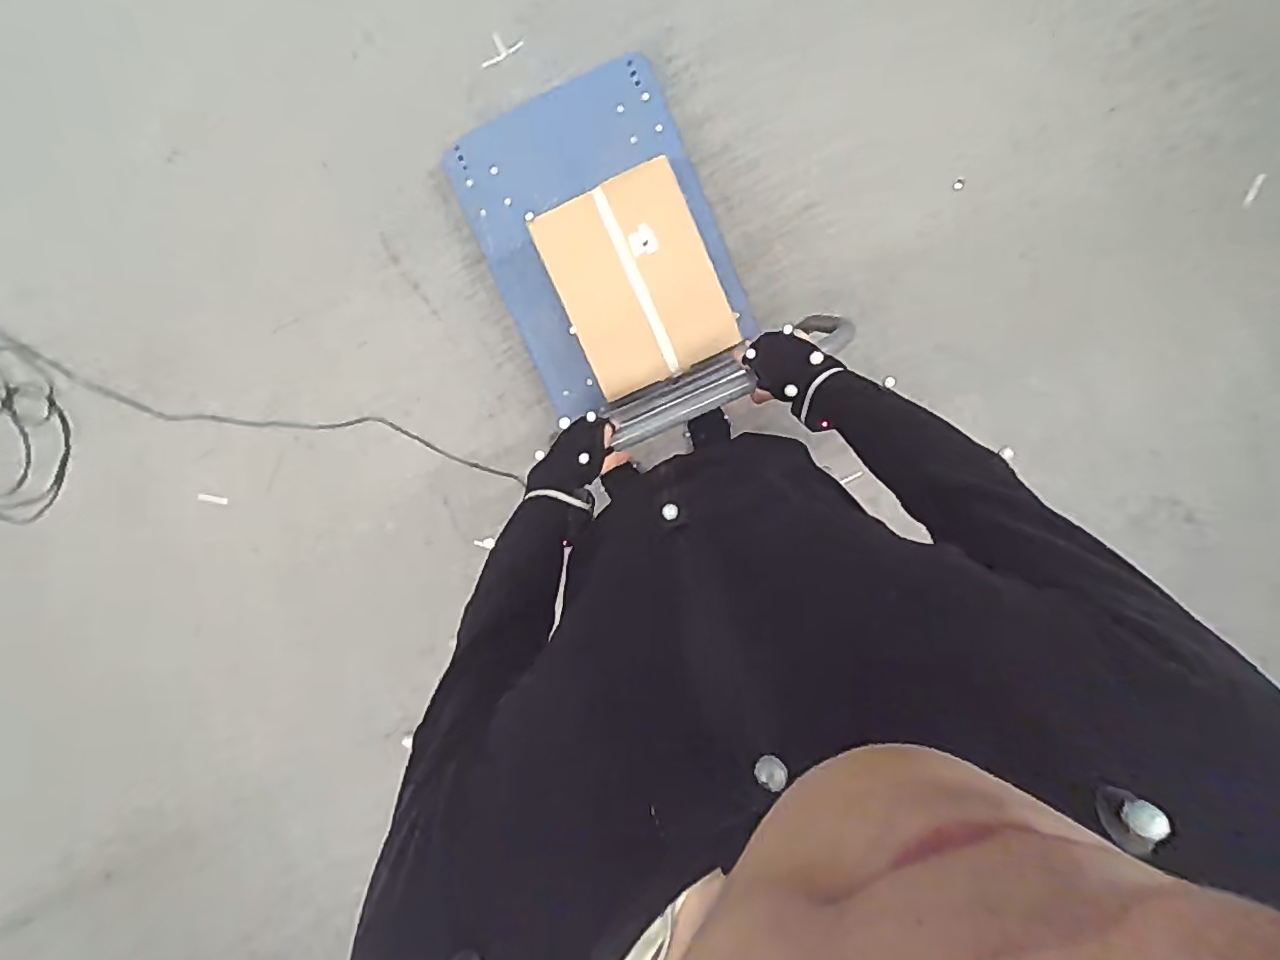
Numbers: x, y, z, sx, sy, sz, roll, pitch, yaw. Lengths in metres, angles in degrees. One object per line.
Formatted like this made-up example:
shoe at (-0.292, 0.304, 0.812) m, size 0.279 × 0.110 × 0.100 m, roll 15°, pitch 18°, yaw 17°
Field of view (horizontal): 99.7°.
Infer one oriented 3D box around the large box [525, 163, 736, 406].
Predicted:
large box at (-0.012, -0.421, 1.272) m, size 0.320 × 0.320 × 0.408 m, roll -24°, pitch 95°, yaw 3°
